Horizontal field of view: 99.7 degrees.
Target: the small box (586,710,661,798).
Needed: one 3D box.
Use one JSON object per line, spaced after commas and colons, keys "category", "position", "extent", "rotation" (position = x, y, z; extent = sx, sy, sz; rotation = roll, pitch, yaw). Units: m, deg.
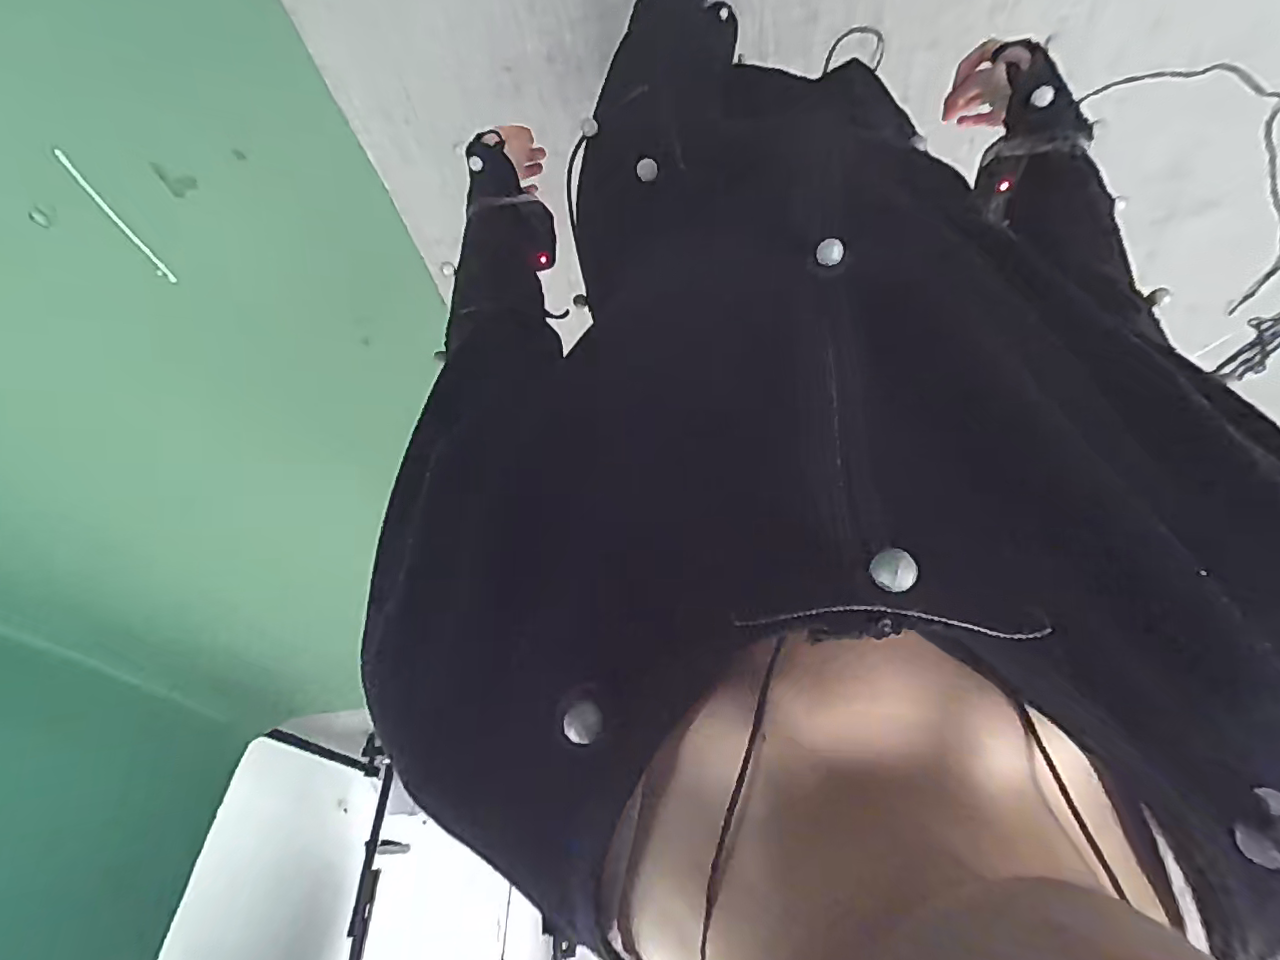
{"category": "small box", "position": [-0.040, 0.713, 1.407], "extent": [0.168, 0.176, 0.179], "rotation": [-8, 140, 6]}
